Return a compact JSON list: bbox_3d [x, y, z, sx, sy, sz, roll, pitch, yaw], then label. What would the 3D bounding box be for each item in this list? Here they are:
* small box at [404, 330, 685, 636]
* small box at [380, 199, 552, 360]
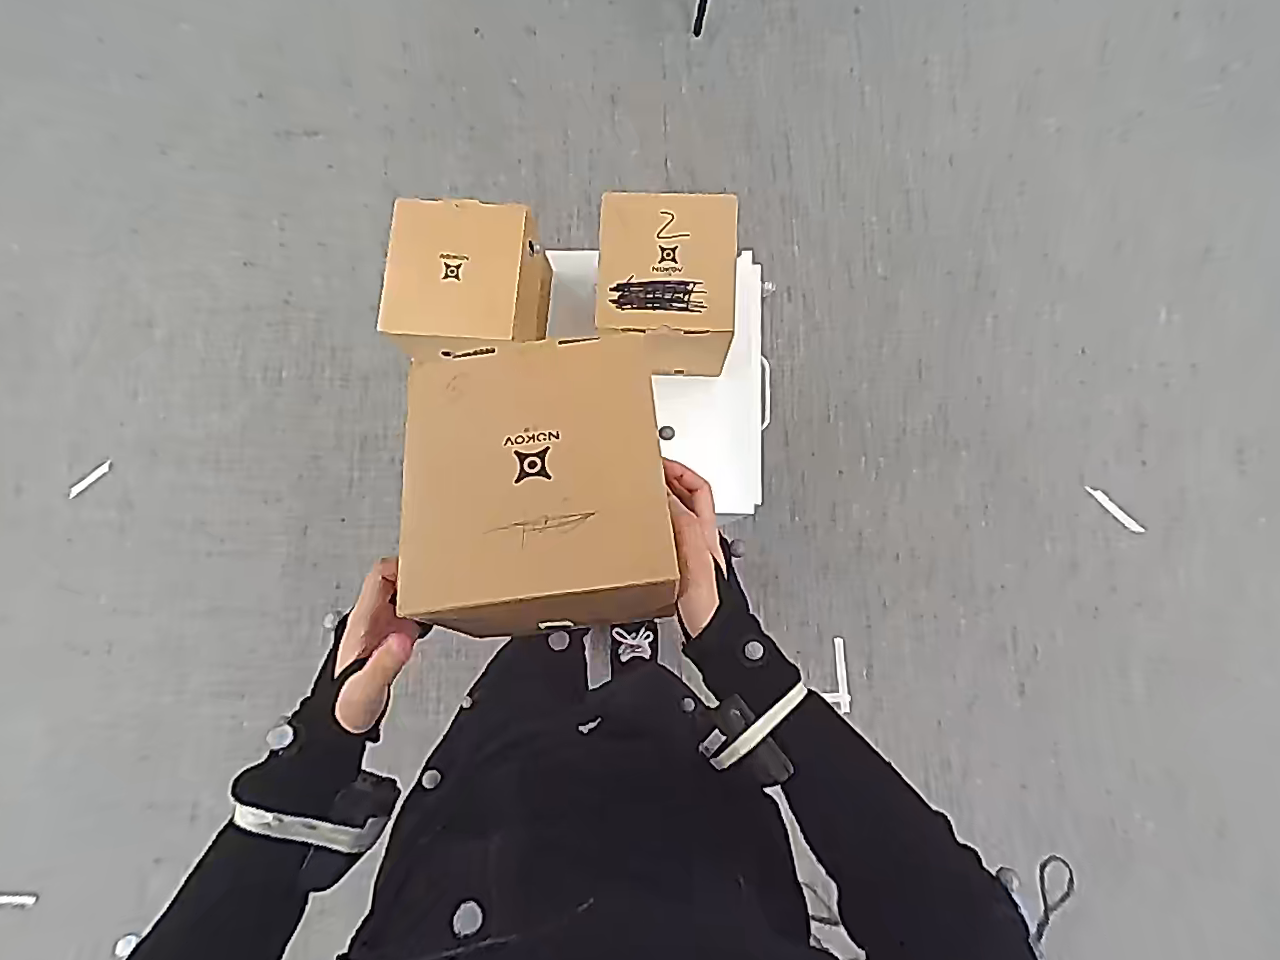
[{"bbox_3d":[-0.060,0.015,0.416,0.168,0.176,0.179,-8,69,1],"label":"small box"},{"bbox_3d":[-0.219,-0.243,0.725,0.168,0.176,0.179,4,83,2],"label":"small box"}]
